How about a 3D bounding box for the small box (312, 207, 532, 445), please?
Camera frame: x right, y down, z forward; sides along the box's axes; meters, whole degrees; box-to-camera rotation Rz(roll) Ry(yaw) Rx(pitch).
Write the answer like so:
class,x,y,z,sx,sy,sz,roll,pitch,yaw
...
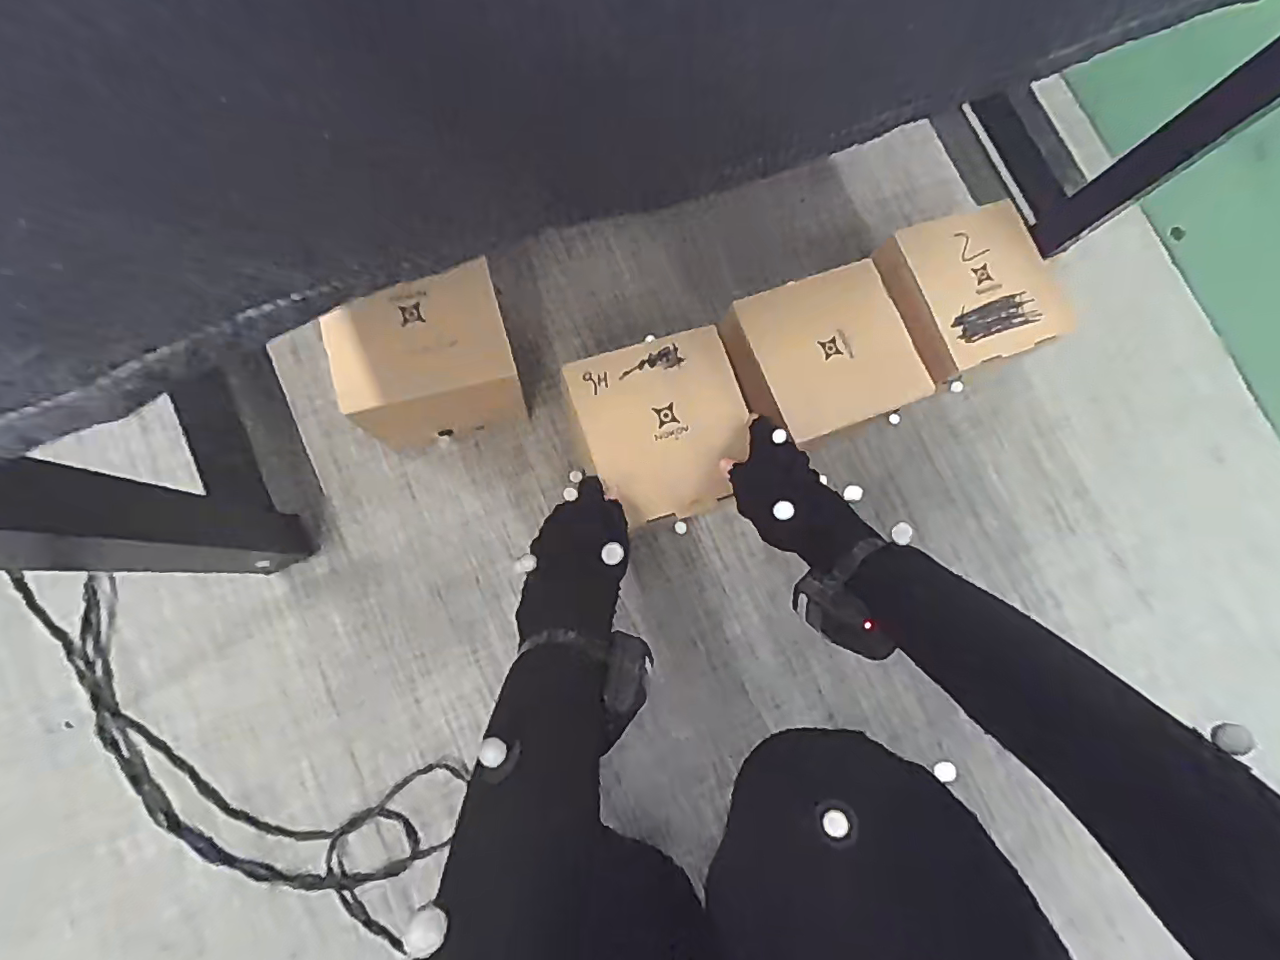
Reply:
class,x,y,z,sx,sy,sz,roll,pitch,yaw
small box,-0.222,-0.156,0.590,0.168,0.176,0.179,-15,81,-9
